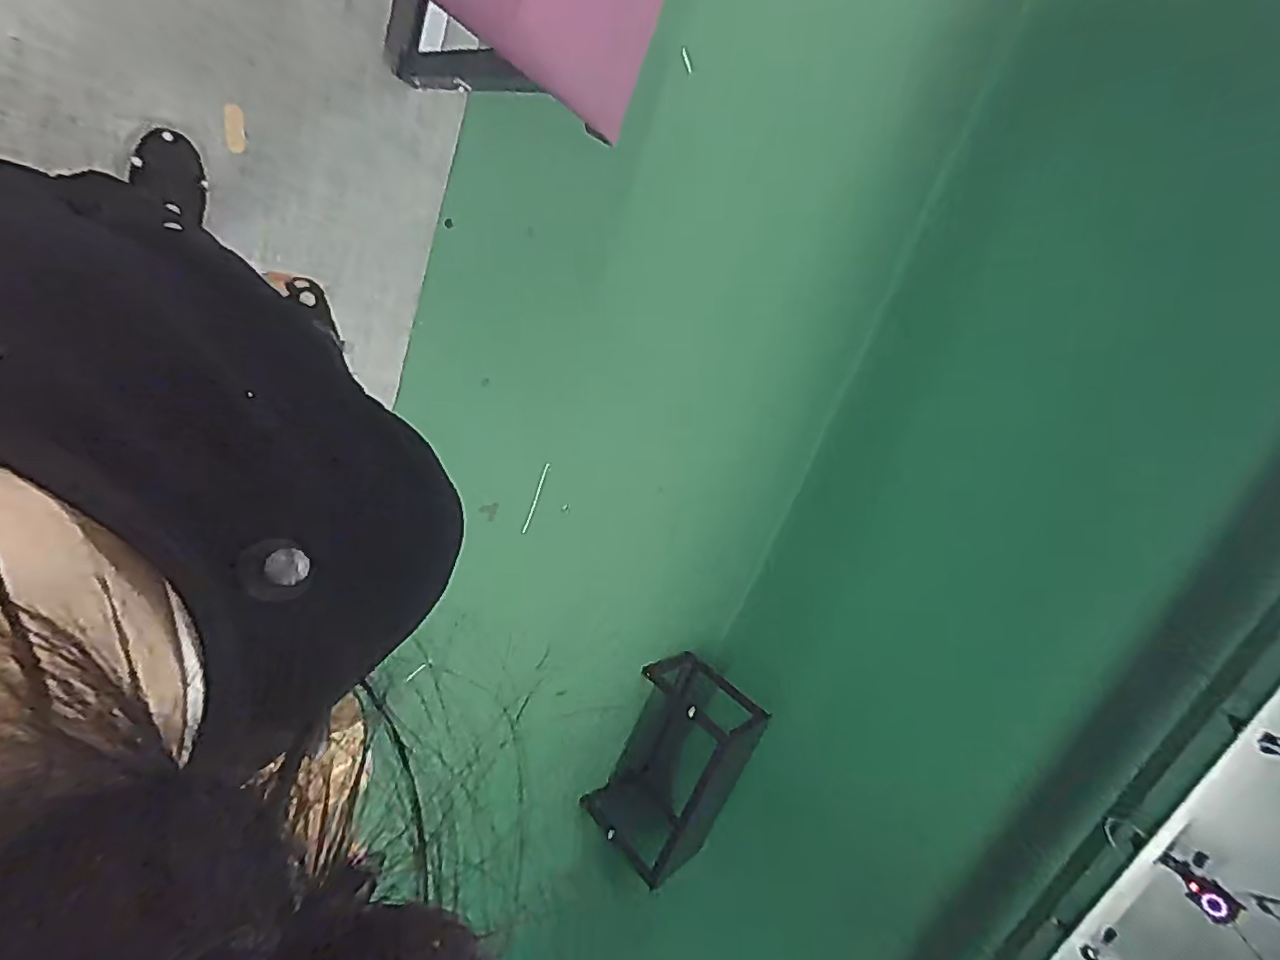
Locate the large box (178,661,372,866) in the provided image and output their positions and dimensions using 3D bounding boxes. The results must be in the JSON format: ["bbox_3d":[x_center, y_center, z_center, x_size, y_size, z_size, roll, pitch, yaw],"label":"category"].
[{"bbox_3d":[-1.103,0.841,1.662,0.408,0.320,0.320,-18,129,-45],"label":"large box"}]

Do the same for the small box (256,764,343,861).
[{"bbox_3d":[-0.941,0.923,1.490,0.168,0.176,0.179,-10,122,-47],"label":"small box"}]

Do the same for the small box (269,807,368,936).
[{"bbox_3d":[-0.831,0.998,1.397,0.179,0.176,0.168,-9,121,-47],"label":"small box"}]
